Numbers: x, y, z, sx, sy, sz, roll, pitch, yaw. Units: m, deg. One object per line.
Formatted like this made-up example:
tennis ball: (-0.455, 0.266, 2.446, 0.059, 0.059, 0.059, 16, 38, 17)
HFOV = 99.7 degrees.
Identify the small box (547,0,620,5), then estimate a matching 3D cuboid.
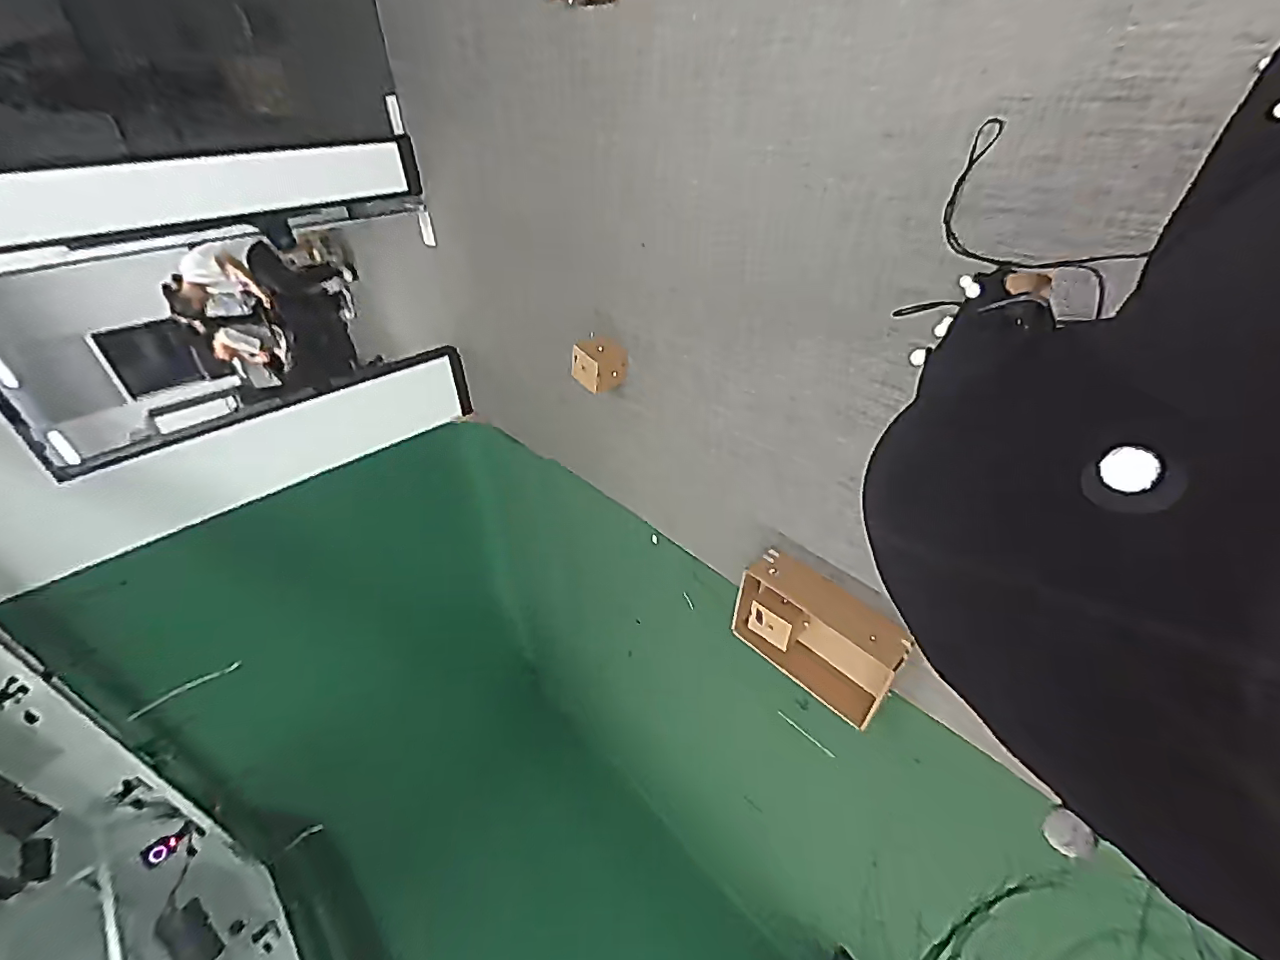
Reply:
small box: (-0.167, -1.527, 1.603, 0.179, 0.176, 0.168, 31, 138, 34)

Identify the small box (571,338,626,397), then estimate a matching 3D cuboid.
small box: (-0.182, -0.501, 2.374, 0.179, 0.176, 0.168, 41, 142, 25)
